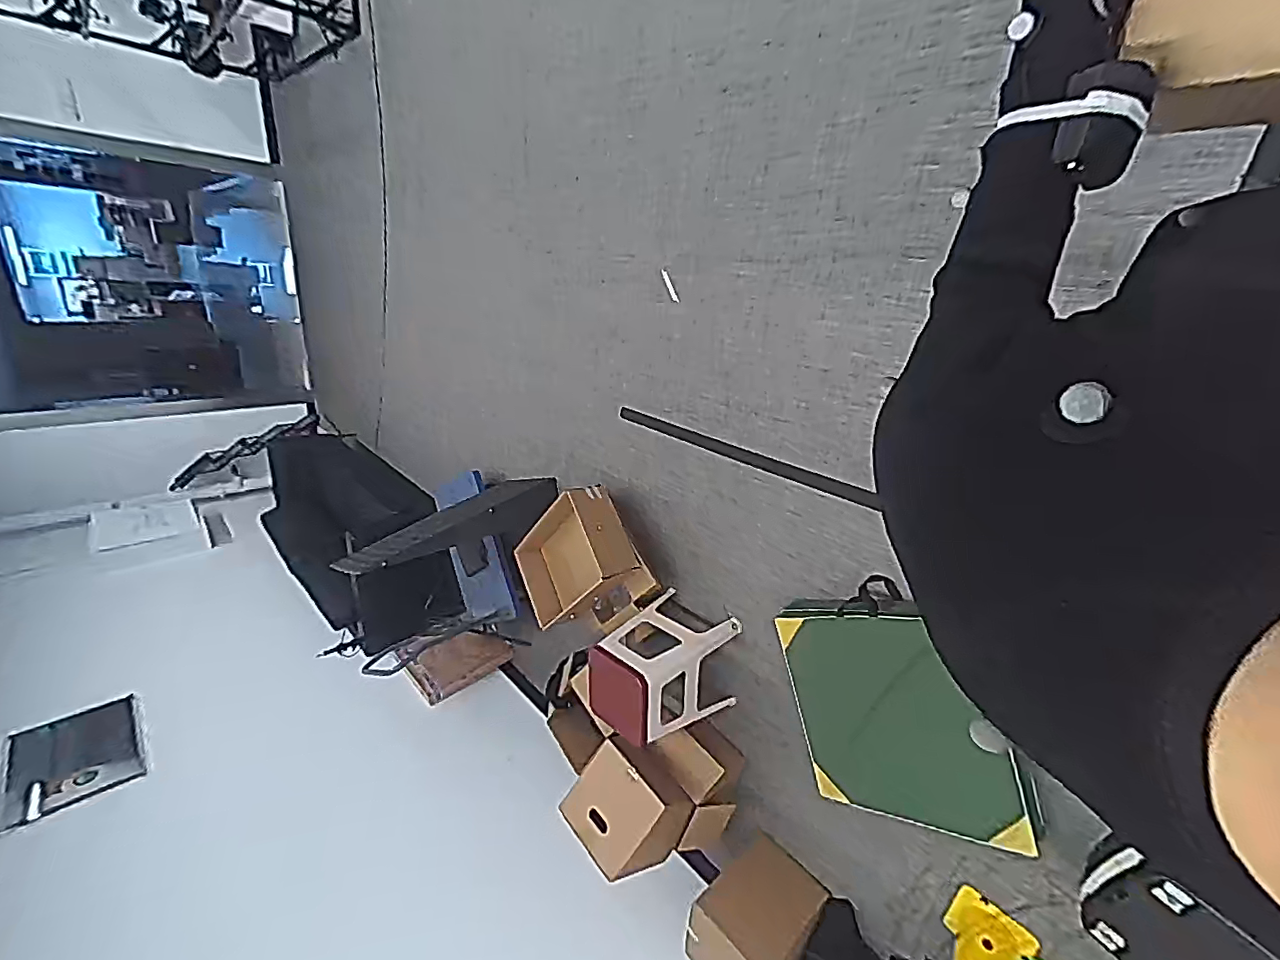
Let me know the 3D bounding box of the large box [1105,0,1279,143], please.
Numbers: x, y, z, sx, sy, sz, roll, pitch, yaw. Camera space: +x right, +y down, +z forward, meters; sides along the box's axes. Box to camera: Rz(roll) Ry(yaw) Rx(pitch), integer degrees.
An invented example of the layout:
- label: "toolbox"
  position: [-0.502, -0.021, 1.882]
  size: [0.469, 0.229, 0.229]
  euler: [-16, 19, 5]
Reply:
- label: "large box"
  position: [0.592, -0.424, 0.331]
  size: [0.408, 0.320, 0.320]
  euler: [19, 122, 38]
